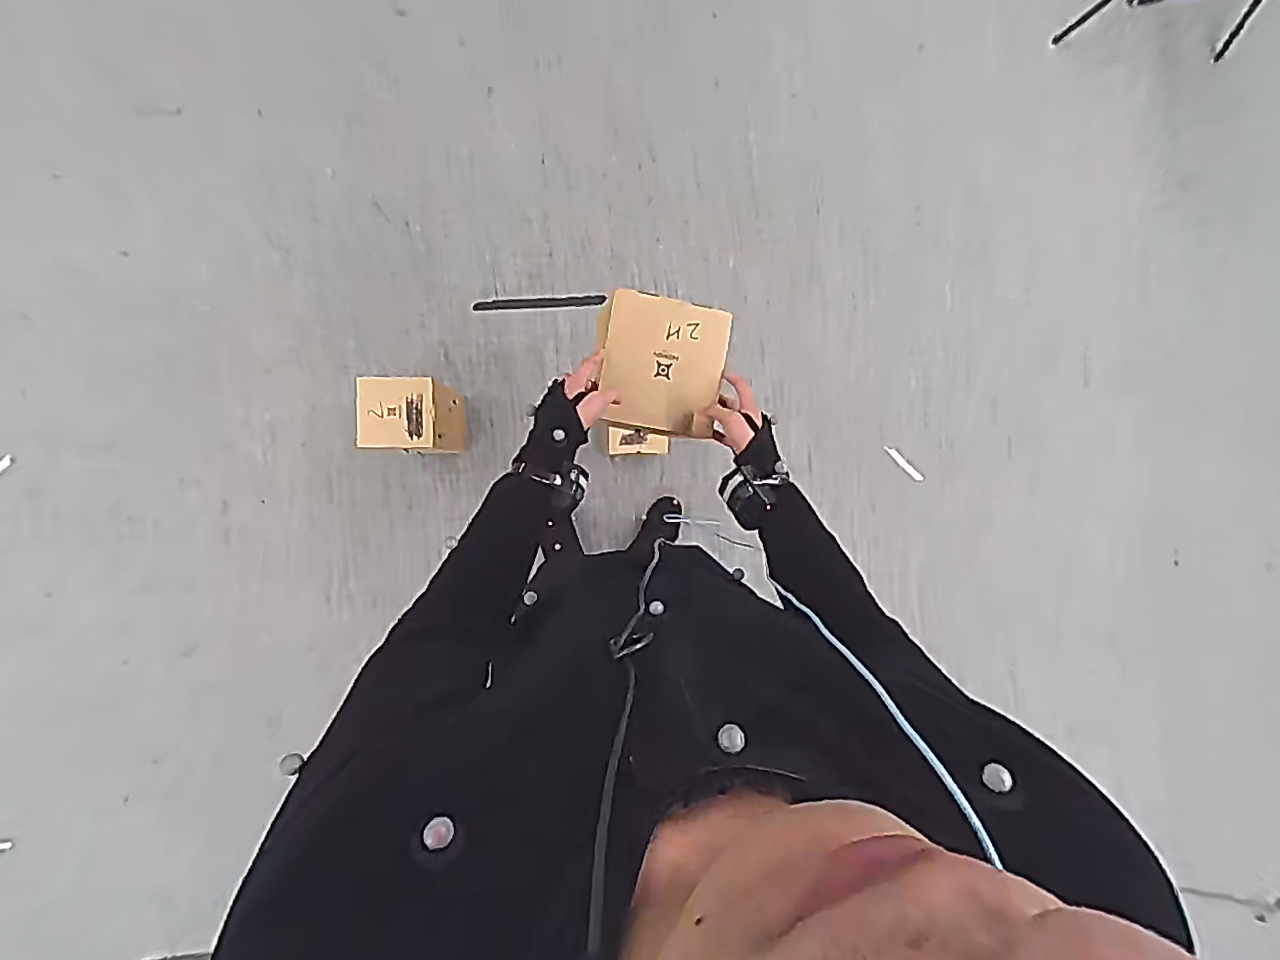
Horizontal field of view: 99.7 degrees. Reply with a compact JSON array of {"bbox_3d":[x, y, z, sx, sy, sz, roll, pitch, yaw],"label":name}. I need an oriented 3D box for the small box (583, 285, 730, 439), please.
[{"bbox_3d":[0.013,-0.160,0.790,0.168,0.176,0.179,9,93,-12],"label":"small box"}]

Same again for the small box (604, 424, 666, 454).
[{"bbox_3d":[-0.017,-0.163,1.553,0.168,0.176,0.179,0,90,-7],"label":"small box"}]

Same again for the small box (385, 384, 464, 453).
[{"bbox_3d":[-0.588,-0.165,1.494,0.168,0.176,0.179,-2,90,-6],"label":"small box"}]
